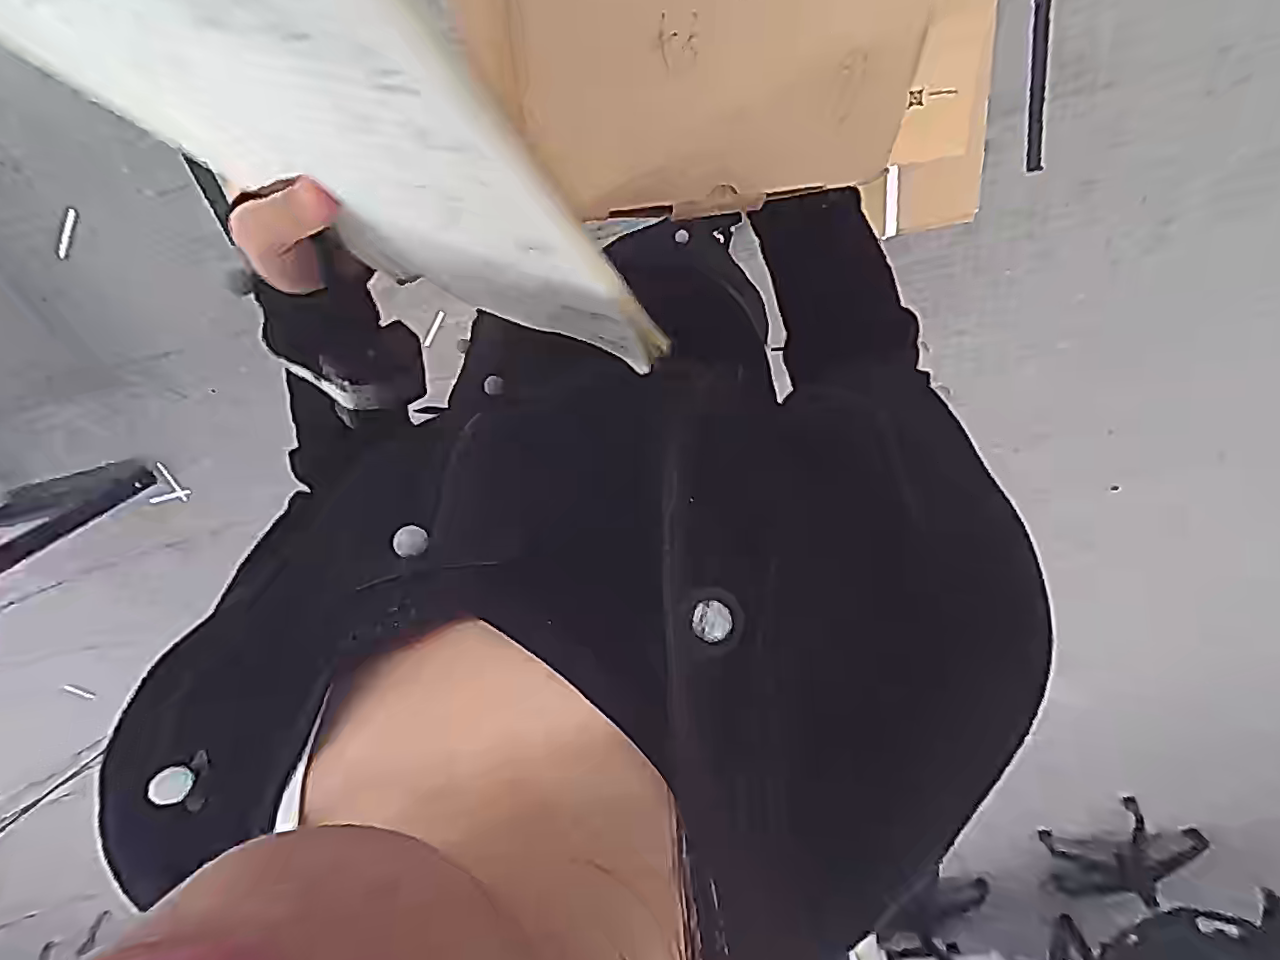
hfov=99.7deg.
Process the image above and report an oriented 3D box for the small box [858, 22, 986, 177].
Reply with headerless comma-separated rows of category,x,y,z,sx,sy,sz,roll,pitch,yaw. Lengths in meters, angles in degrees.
small box,0.389,-0.568,0.834,0.179,0.176,0.168,-6,118,6
